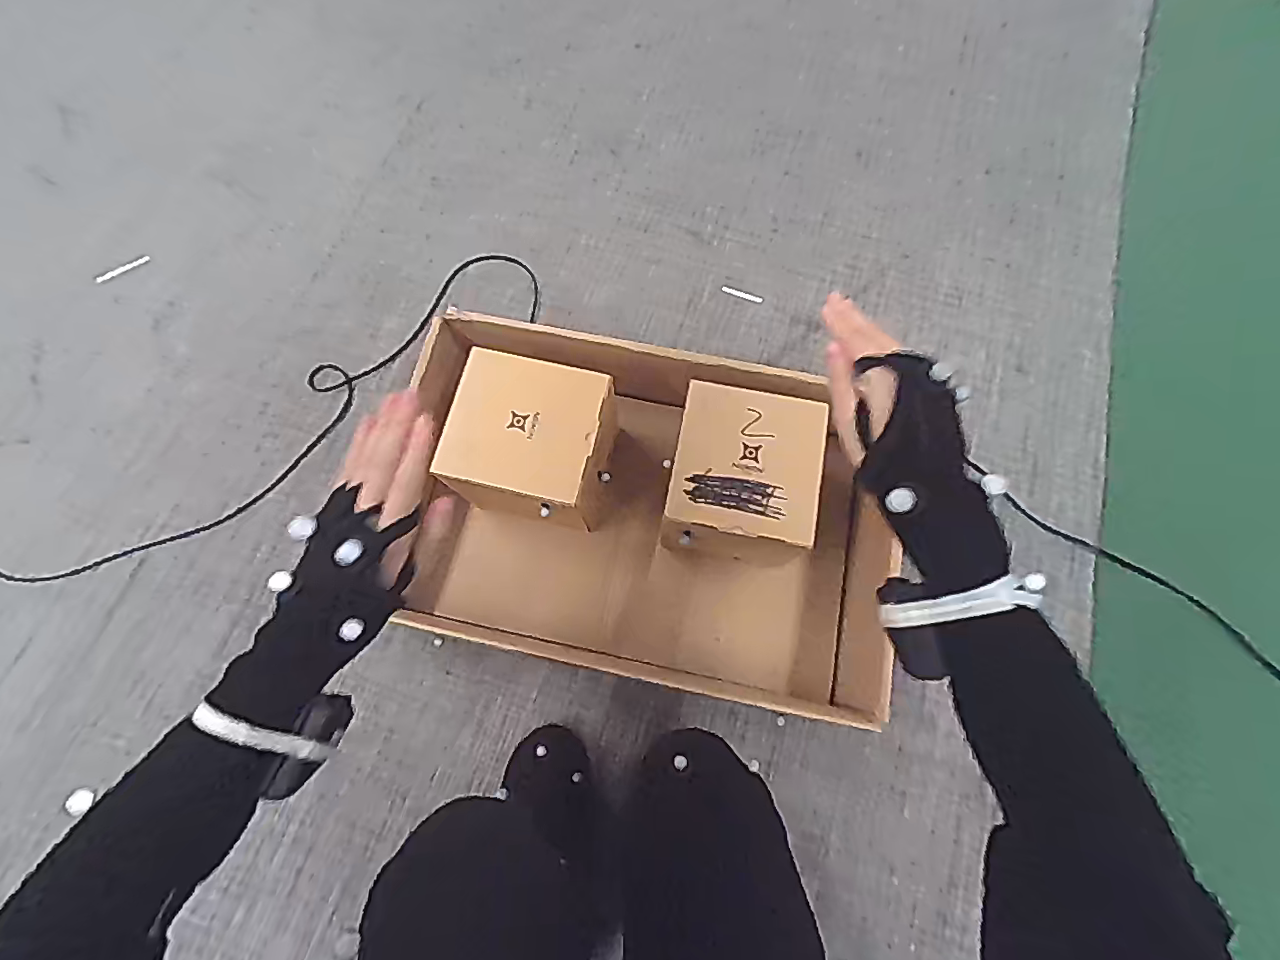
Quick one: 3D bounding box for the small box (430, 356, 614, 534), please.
[{"bbox_3d":[-0.139,-0.035,0.707,0.179,0.176,0.168,13,74,3],"label":"small box"}]
